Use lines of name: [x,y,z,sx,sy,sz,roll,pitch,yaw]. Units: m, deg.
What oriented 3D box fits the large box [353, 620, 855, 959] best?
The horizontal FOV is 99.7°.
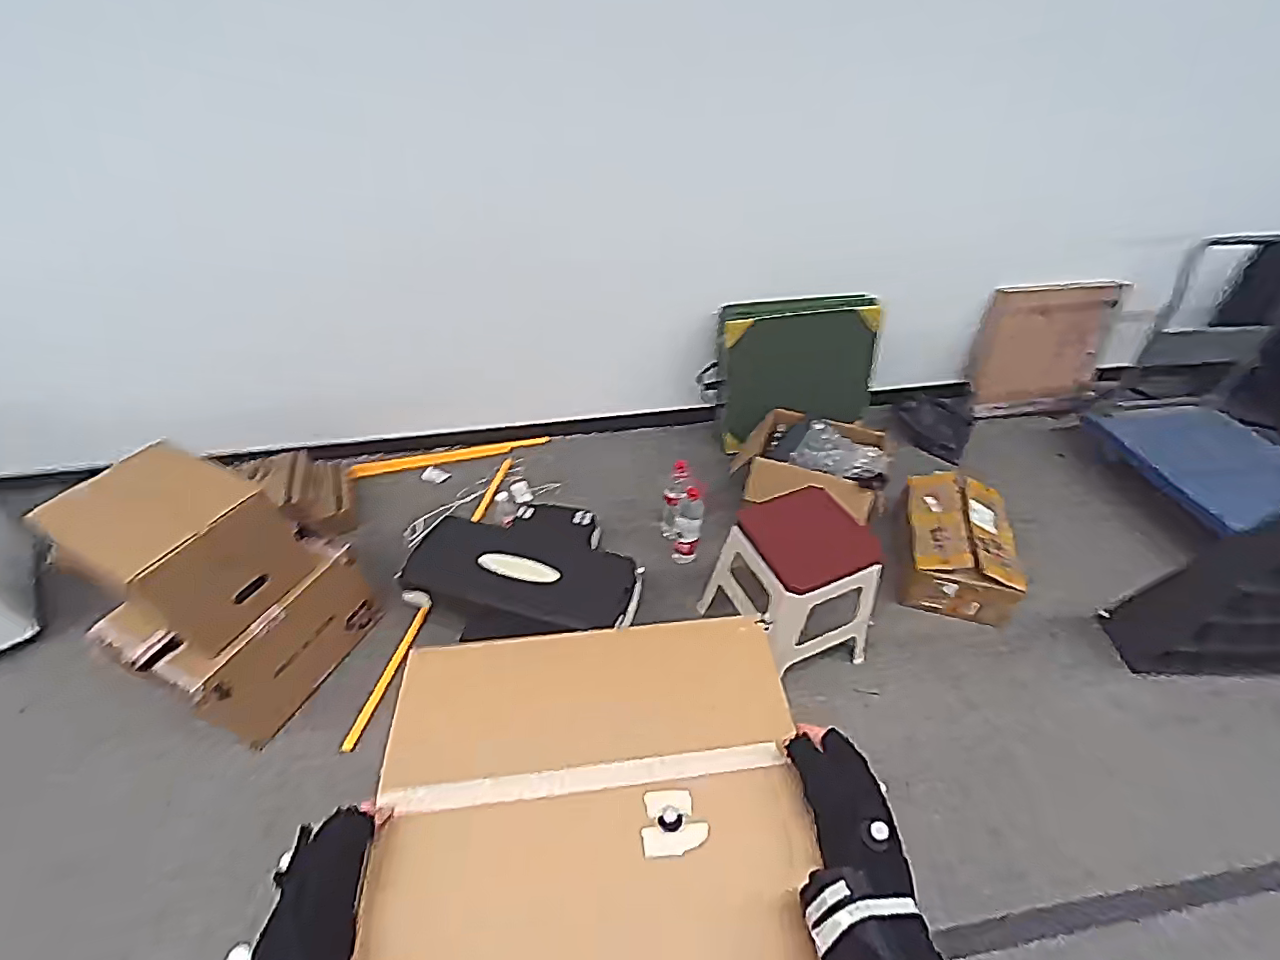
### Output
large box: [-0.040,0.395,0.619,0.408,0.320,0.320,-4,44,-4]
